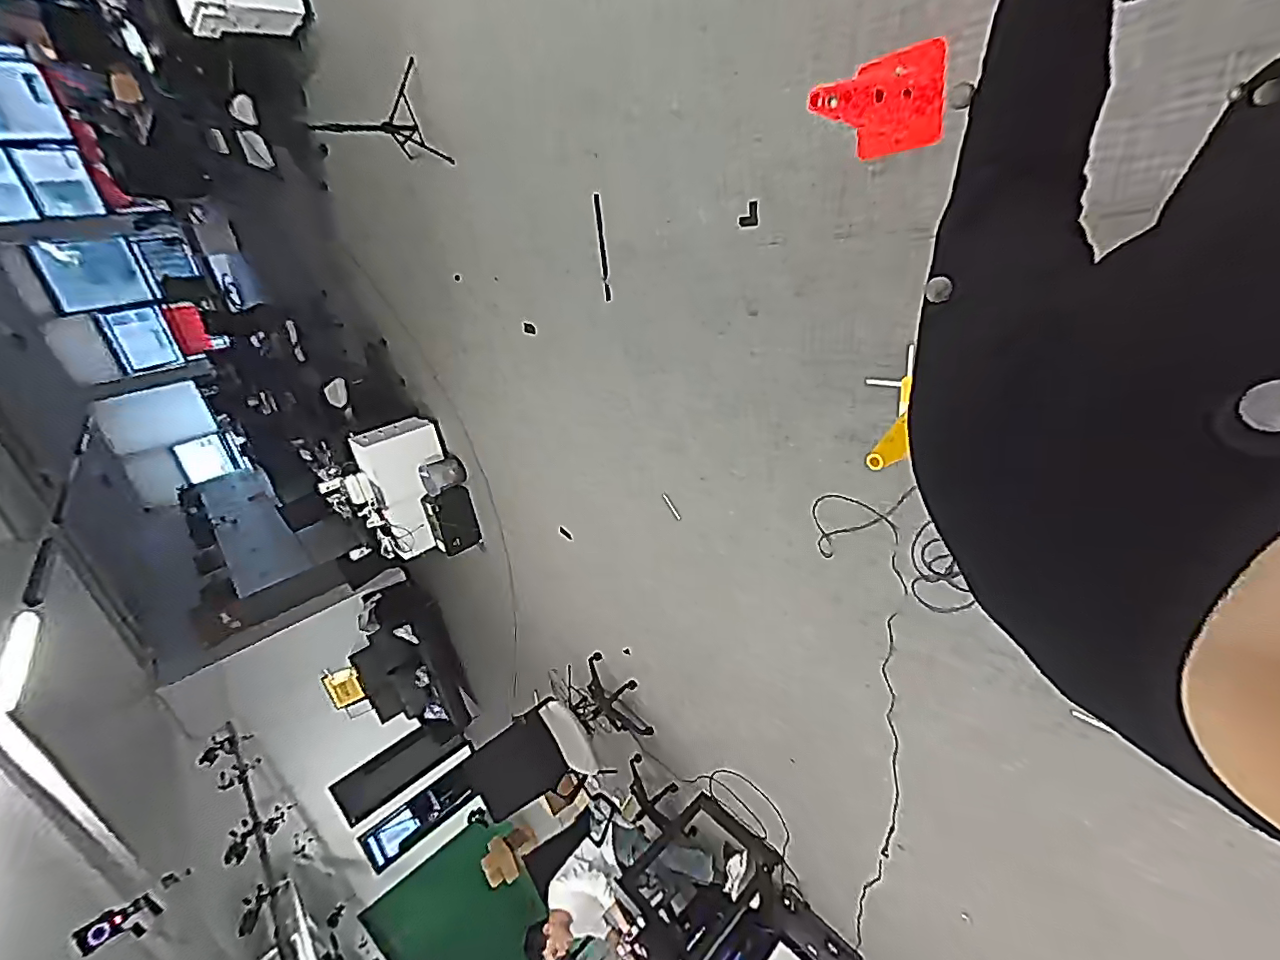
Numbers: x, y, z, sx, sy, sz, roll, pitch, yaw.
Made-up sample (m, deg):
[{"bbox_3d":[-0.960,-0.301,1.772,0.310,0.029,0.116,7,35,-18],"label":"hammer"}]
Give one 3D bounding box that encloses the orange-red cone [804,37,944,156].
[{"bbox_3d":[0.464,-0.804,1.146,0.198,0.360,0.199,18,128,46],"label":"orange-red cone"}]
